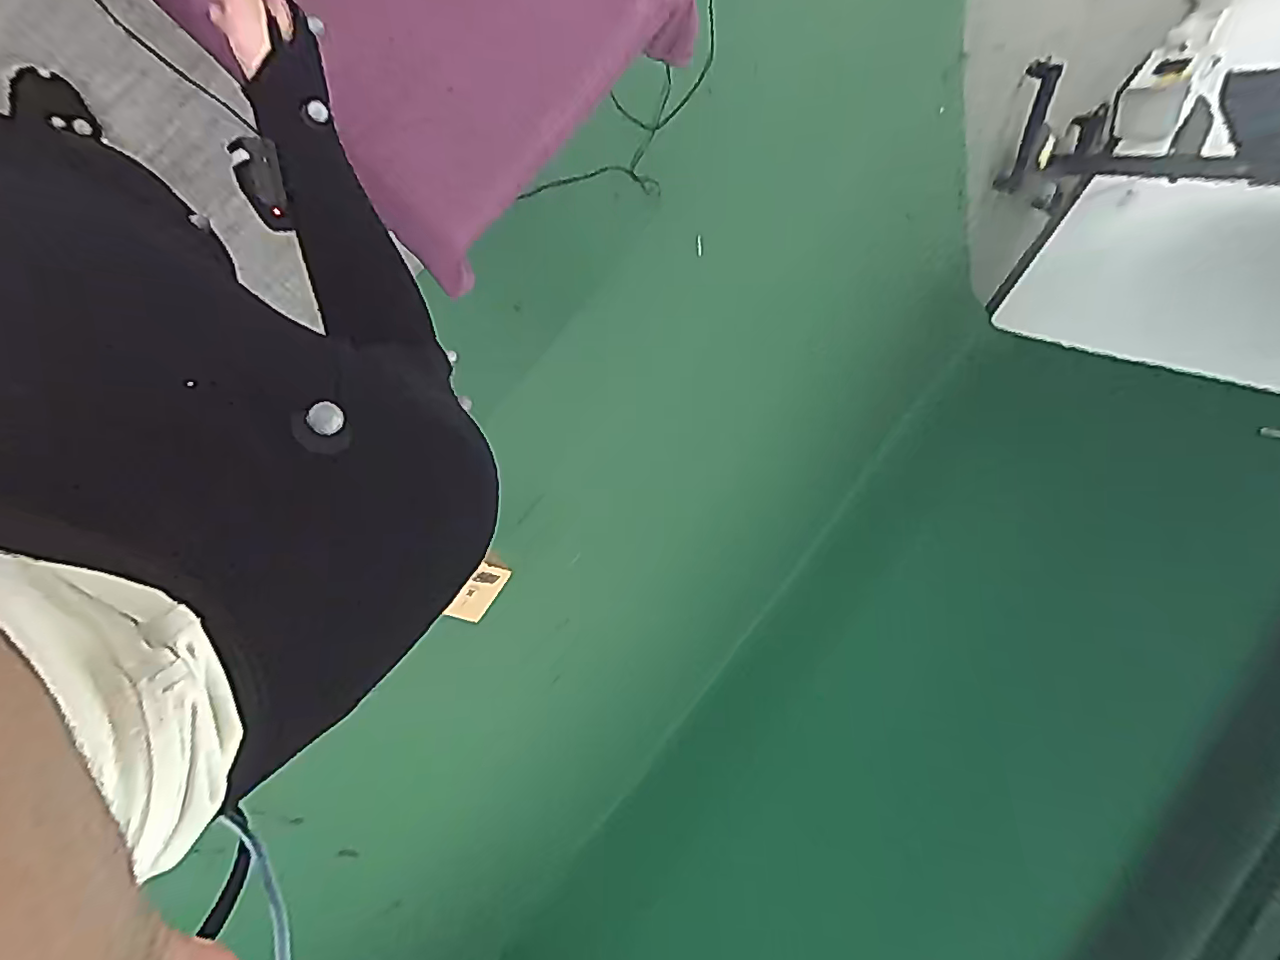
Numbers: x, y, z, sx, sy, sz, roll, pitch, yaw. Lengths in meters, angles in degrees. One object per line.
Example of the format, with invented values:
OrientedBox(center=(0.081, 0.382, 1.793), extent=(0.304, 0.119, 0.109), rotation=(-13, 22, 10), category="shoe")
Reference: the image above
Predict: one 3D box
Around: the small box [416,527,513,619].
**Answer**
OrientedBox(center=(-0.499, 0.258, 1.525), extent=(0.179, 0.176, 0.168), rotation=(-54, 137, -1), category="small box")
